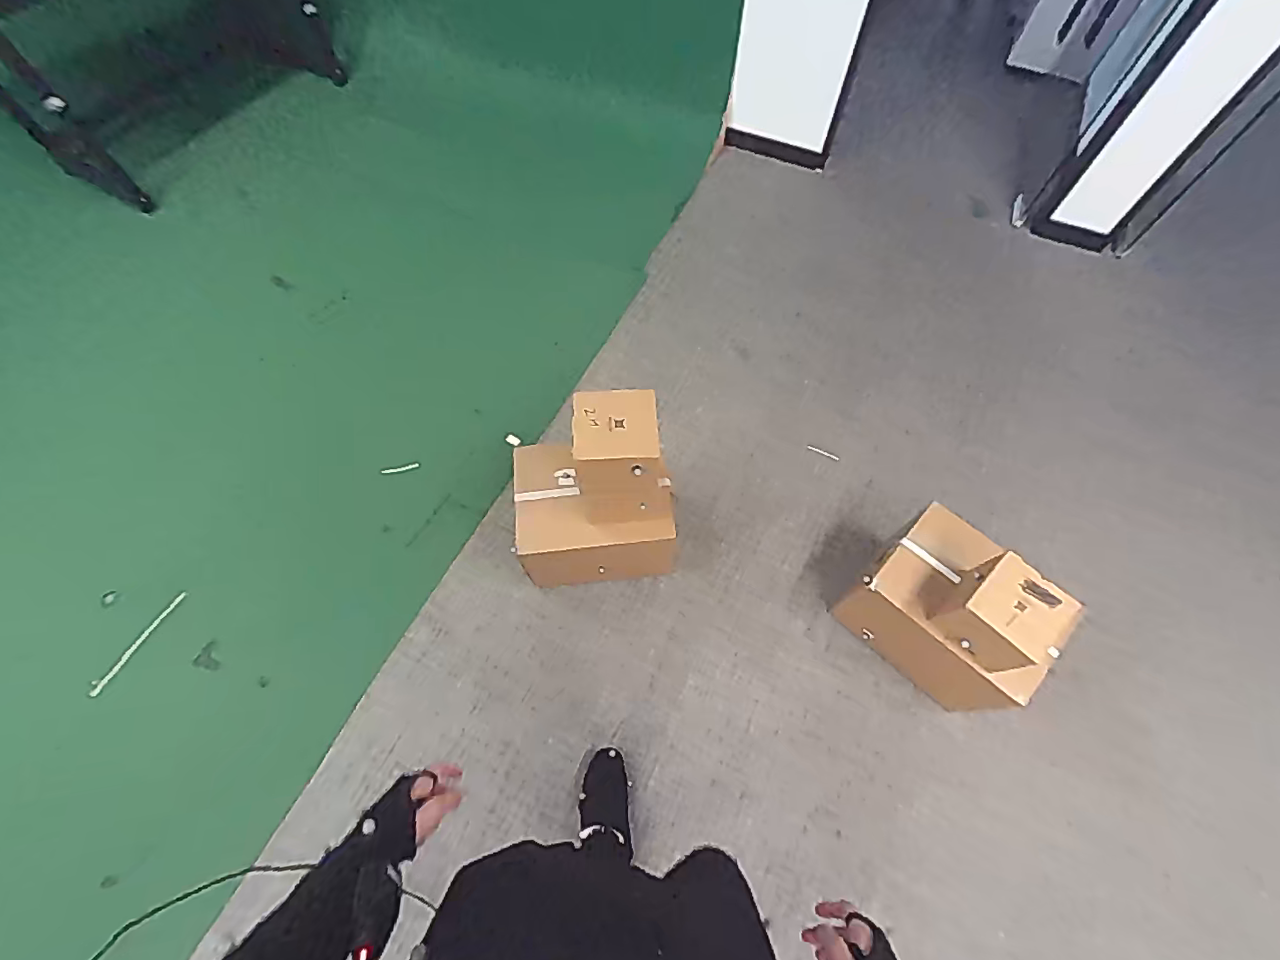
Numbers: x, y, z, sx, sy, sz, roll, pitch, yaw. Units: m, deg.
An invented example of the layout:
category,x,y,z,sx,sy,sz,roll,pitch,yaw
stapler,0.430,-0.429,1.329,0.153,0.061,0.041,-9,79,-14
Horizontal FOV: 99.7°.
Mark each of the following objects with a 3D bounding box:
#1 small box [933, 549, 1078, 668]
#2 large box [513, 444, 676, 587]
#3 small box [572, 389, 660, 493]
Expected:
category,x,y,z,sx,sy,sz,roll,pitch,yaw
small box,0.782,0.285,1.179,0.179,0.176,0.168,-41,71,-16
large box,-0.125,0.097,1.540,0.408,0.320,0.320,-7,63,-3
small box,-0.051,-0.081,1.169,0.179,0.176,0.168,-2,63,-1
